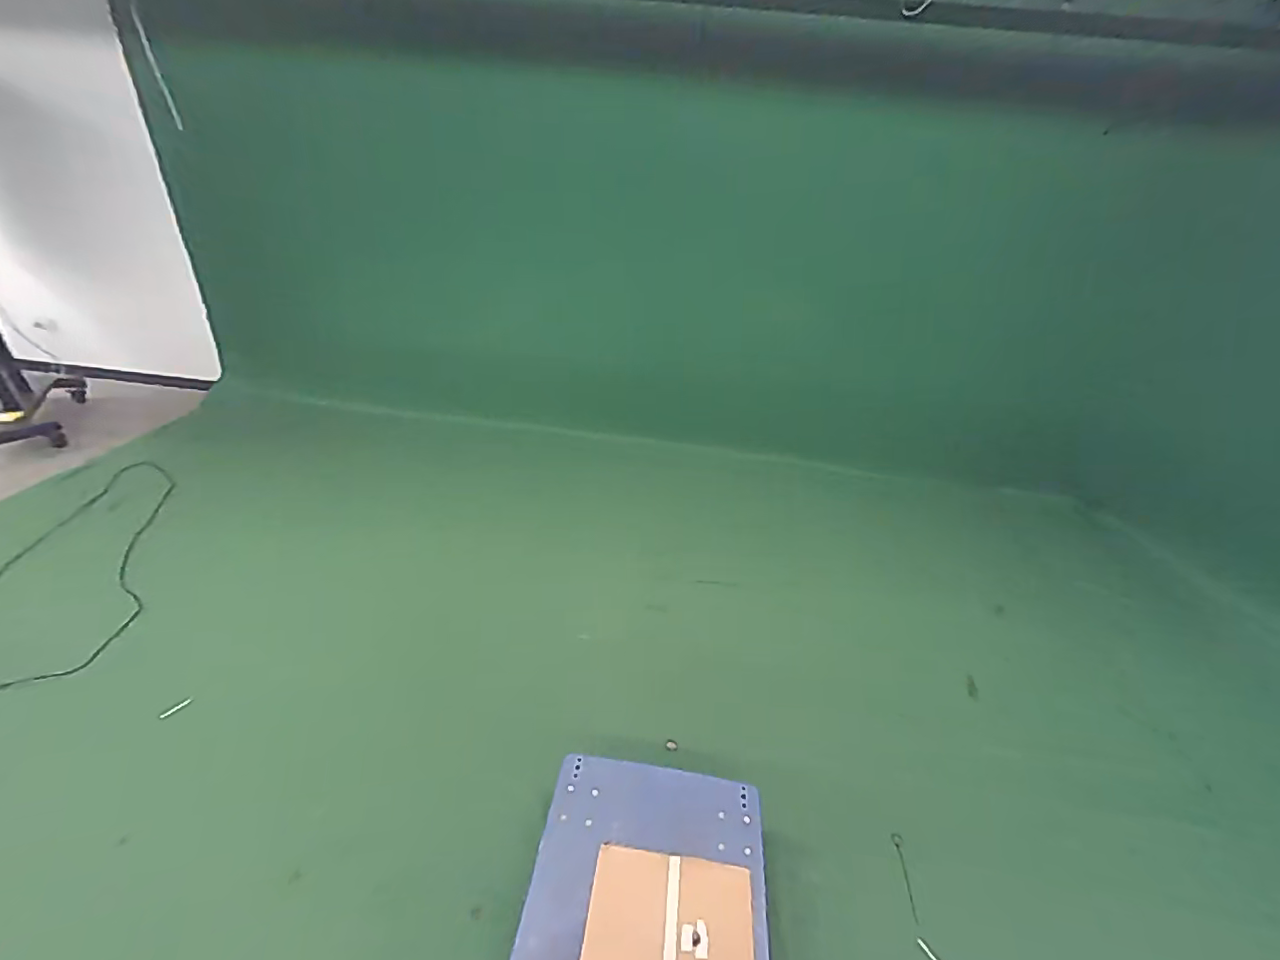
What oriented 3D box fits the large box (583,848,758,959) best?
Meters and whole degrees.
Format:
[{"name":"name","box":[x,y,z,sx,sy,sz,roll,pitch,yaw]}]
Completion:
[{"name":"large box","box":[0.041,0.994,0.994,0.320,0.320,0.408,8,29,4]}]
